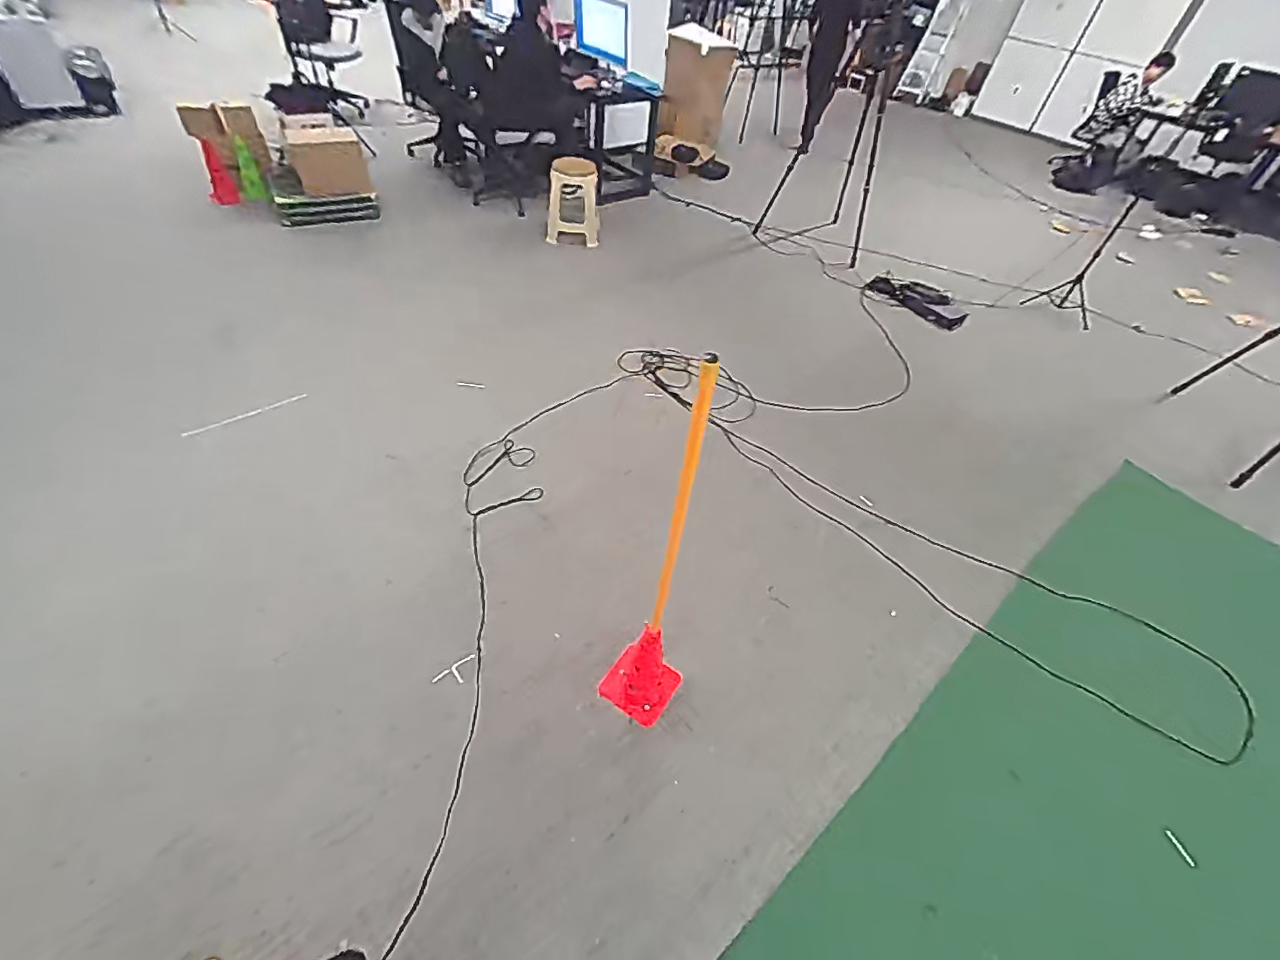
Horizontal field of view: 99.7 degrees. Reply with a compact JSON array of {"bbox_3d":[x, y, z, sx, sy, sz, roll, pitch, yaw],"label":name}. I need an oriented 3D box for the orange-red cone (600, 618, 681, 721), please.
[{"bbox_3d":[0.024,0.493,1.532,0.198,0.360,0.199,31,49,19],"label":"orange-red cone"}]
